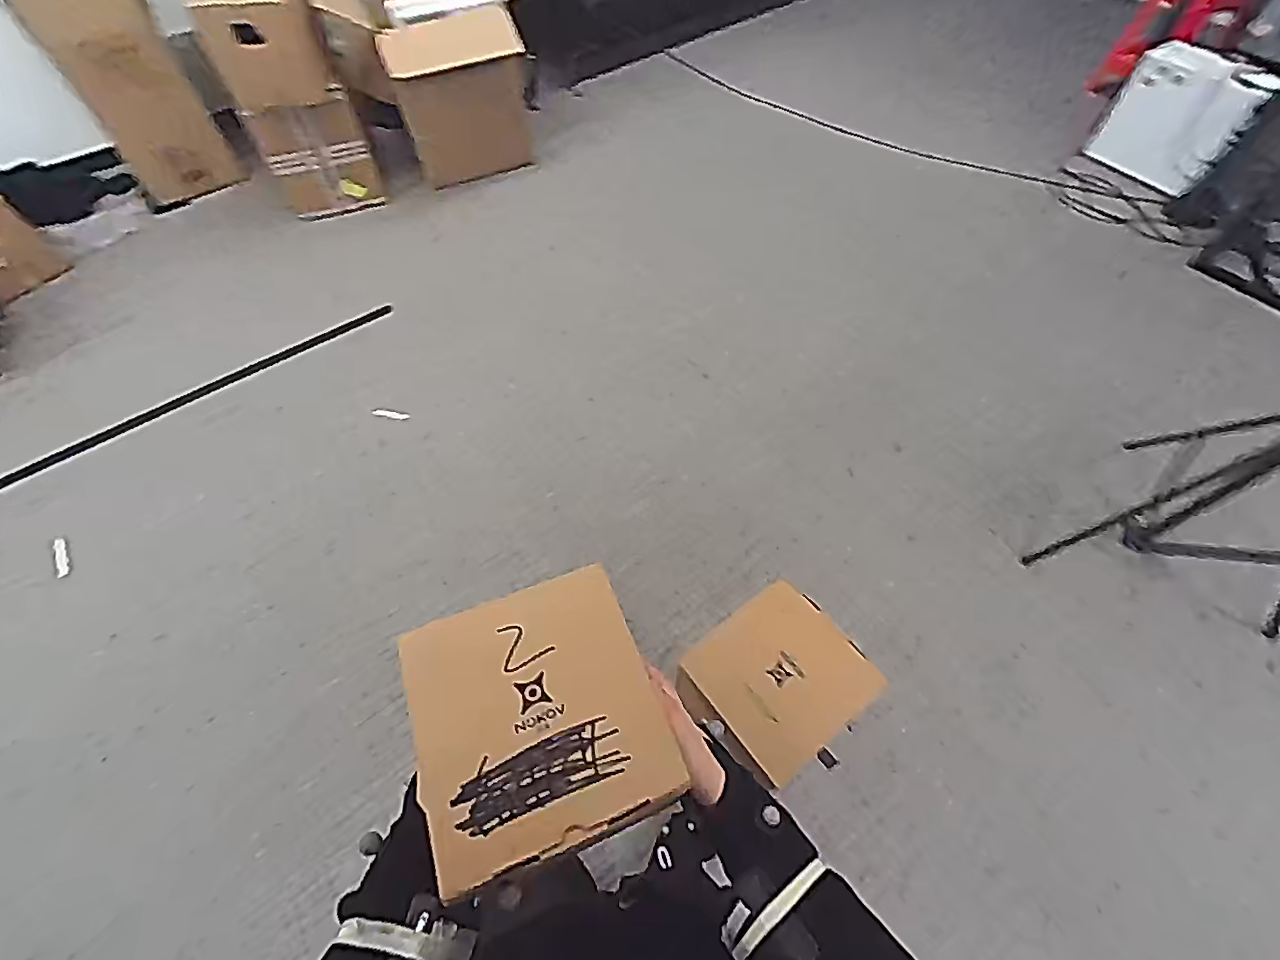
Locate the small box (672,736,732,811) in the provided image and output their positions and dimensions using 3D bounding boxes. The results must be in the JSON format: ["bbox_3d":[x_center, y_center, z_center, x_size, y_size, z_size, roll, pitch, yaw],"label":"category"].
[{"bbox_3d":[0.188,0.615,1.225,0.168,0.176,0.179,-32,62,-17],"label":"small box"}]

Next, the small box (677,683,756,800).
[{"bbox_3d":[0.172,0.352,0.811,0.179,0.176,0.168,-31,61,-17],"label":"small box"}]

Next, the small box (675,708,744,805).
[{"bbox_3d":[0.178,0.443,0.948,0.179,0.176,0.168,-31,62,-15],"label":"small box"}]

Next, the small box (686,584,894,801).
[{"bbox_3d":[0.169,0.267,0.673,0.179,0.176,0.168,-34,61,-17],"label":"small box"}]

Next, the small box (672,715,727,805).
[{"bbox_3d":[0.176,0.525,1.089,0.168,0.176,0.179,-31,61,-15],"label":"small box"}]
